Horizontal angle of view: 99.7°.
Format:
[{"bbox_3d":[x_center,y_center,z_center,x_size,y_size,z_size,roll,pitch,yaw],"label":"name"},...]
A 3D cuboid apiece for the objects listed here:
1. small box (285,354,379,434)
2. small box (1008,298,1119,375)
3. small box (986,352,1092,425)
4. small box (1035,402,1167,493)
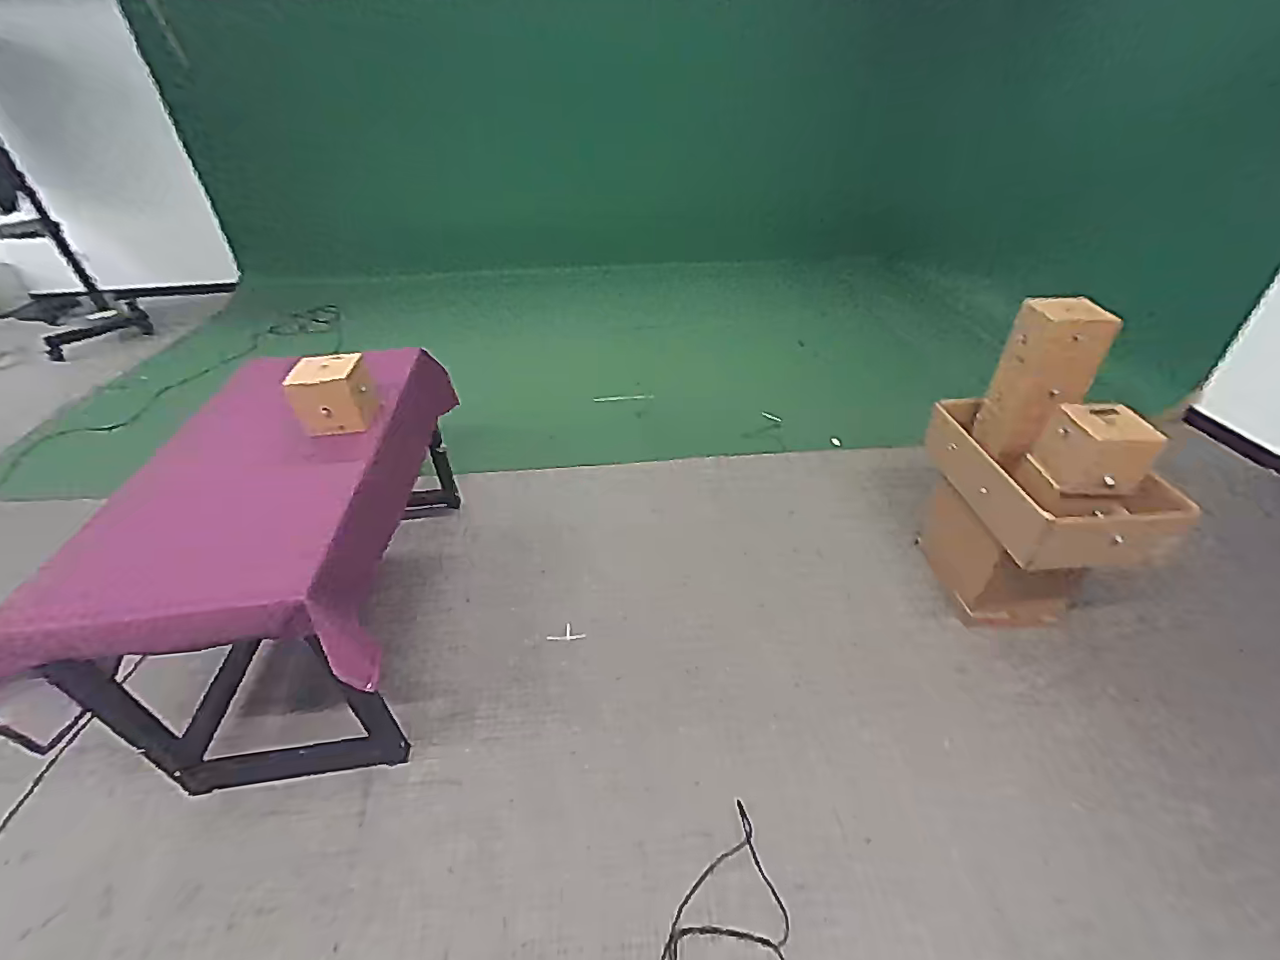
[{"bbox_3d":[-0.878,-0.244,1.565,0.168,0.176,0.179,-6,38,-5],"label":"small box"},{"bbox_3d":[1.193,-0.410,1.546,0.179,0.176,0.168,1,38,4],"label":"small box"},{"bbox_3d":[1.201,-0.277,1.643,0.179,0.176,0.168,0,38,3],"label":"small box"},{"bbox_3d":[1.170,-0.085,1.394,0.168,0.176,0.179,1,38,4],"label":"small box"}]
